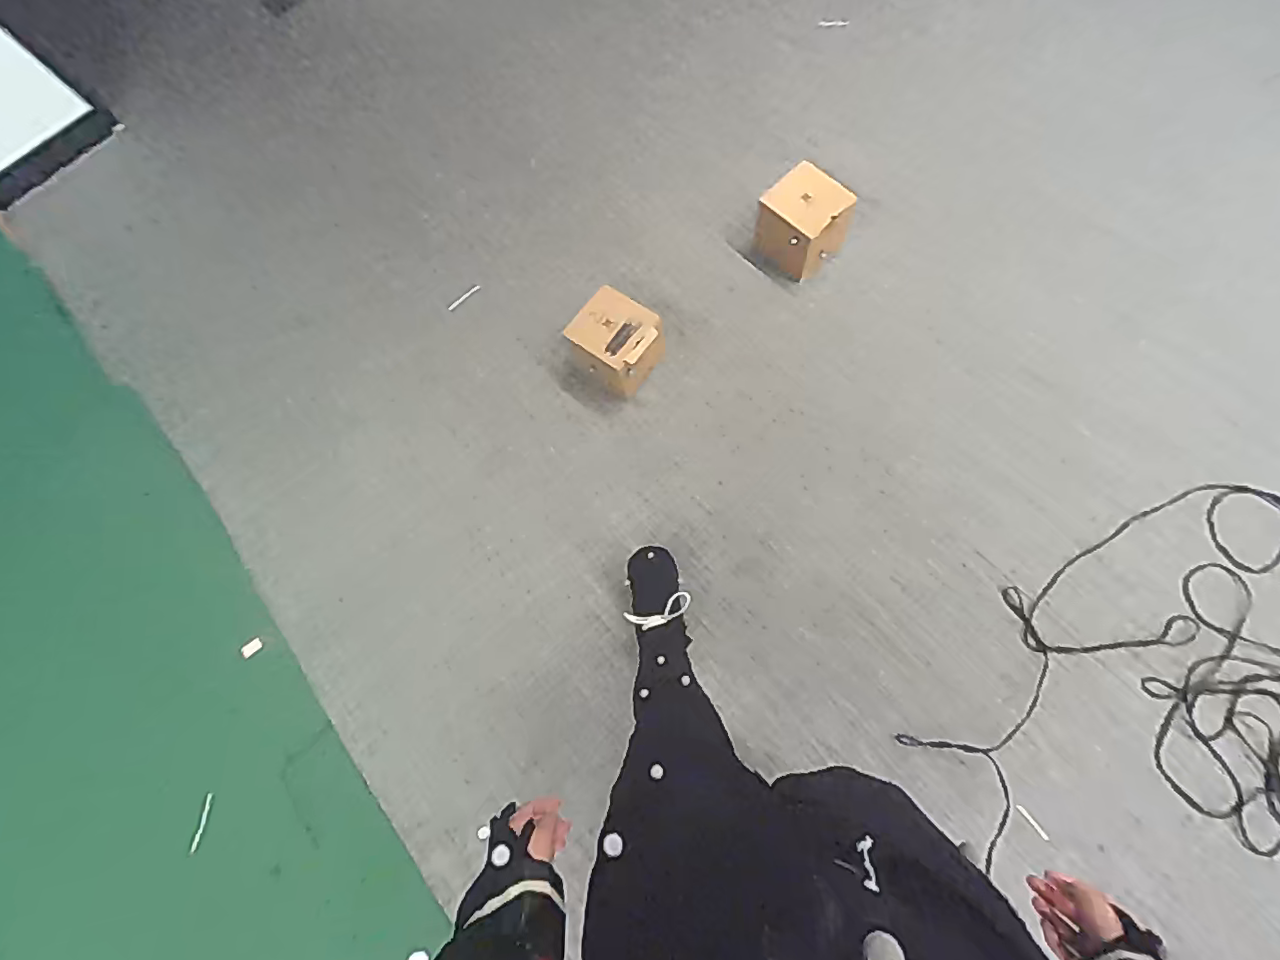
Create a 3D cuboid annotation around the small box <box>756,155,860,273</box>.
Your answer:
[{"bbox_3d":[0.414,-0.667,1.372,0.168,0.176,0.179,-42,75,-7],"label":"small box"}]
